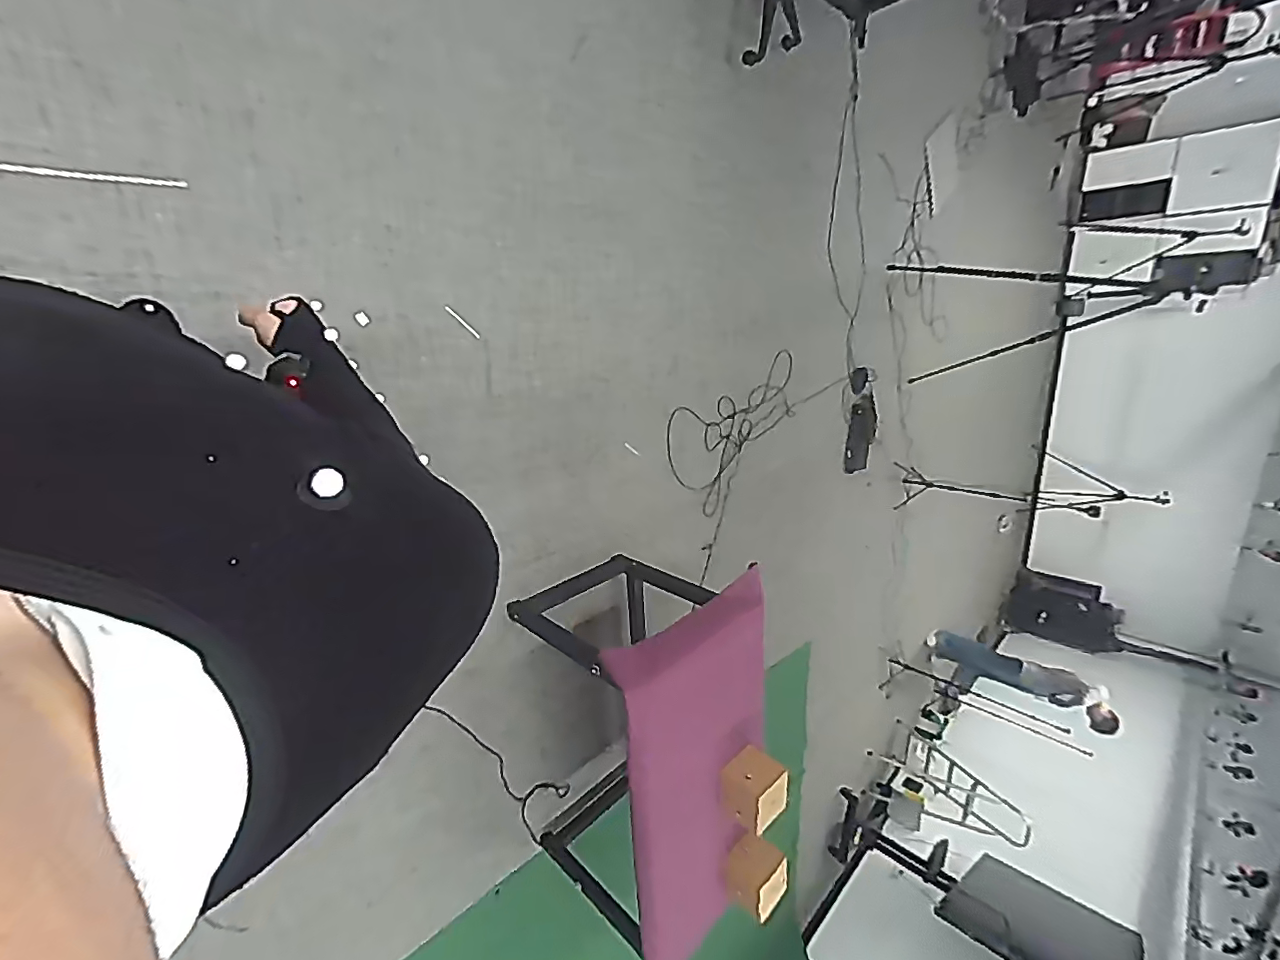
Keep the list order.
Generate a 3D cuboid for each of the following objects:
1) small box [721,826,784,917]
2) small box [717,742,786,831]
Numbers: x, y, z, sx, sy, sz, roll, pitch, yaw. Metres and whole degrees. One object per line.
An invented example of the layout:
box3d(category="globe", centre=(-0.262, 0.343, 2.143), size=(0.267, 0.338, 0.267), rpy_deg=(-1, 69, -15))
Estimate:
box3d(category="small box", centre=(0.415, 1.449, 2.012), size=(0.179, 0.176, 0.168), rpy_deg=(-18, 112, -40))
box3d(category="small box", centre=(0.386, 1.062, 1.886), size=(0.179, 0.176, 0.168), rpy_deg=(-15, 112, -42))
